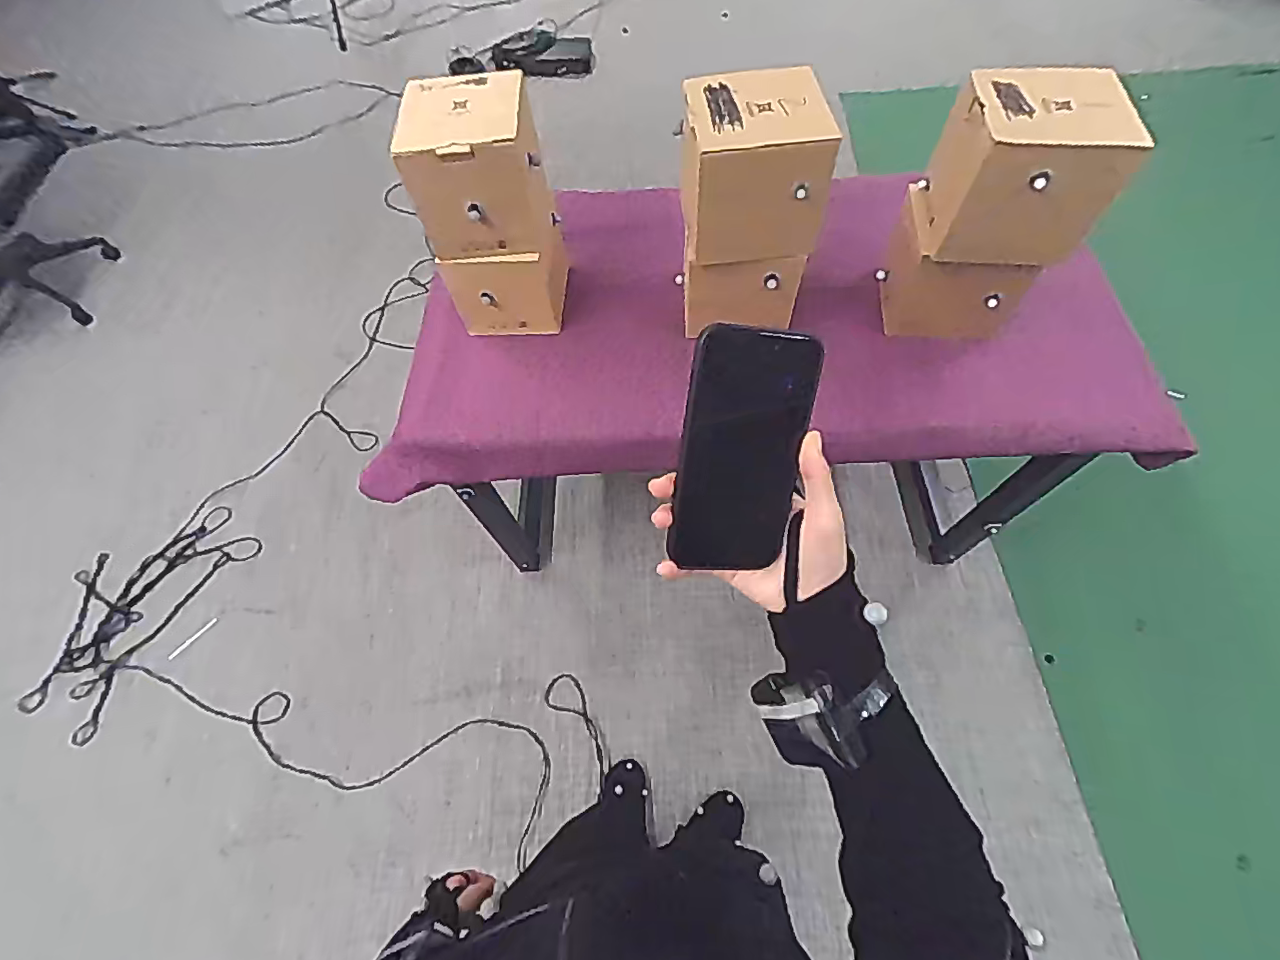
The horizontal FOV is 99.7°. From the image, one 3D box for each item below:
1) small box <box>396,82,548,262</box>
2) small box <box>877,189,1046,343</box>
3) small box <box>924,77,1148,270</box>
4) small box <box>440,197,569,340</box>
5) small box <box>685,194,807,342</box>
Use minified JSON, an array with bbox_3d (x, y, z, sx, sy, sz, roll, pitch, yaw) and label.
[{"bbox_3d":[-0.234,-0.445,0.802,0.168,0.176,0.179,-5,62,1],"label":"small box"},{"bbox_3d":[0.505,-0.340,0.877,0.179,0.176,0.168,5,62,7],"label":"small box"},{"bbox_3d":[0.503,-0.404,0.726,0.179,0.176,0.168,5,62,6],"label":"small box"},{"bbox_3d":[-0.223,-0.359,0.942,0.168,0.176,0.179,0,61,4],"label":"small box"},{"bbox_3d":[0.166,-0.348,0.905,0.179,0.176,0.168,-1,61,4],"label":"small box"}]
